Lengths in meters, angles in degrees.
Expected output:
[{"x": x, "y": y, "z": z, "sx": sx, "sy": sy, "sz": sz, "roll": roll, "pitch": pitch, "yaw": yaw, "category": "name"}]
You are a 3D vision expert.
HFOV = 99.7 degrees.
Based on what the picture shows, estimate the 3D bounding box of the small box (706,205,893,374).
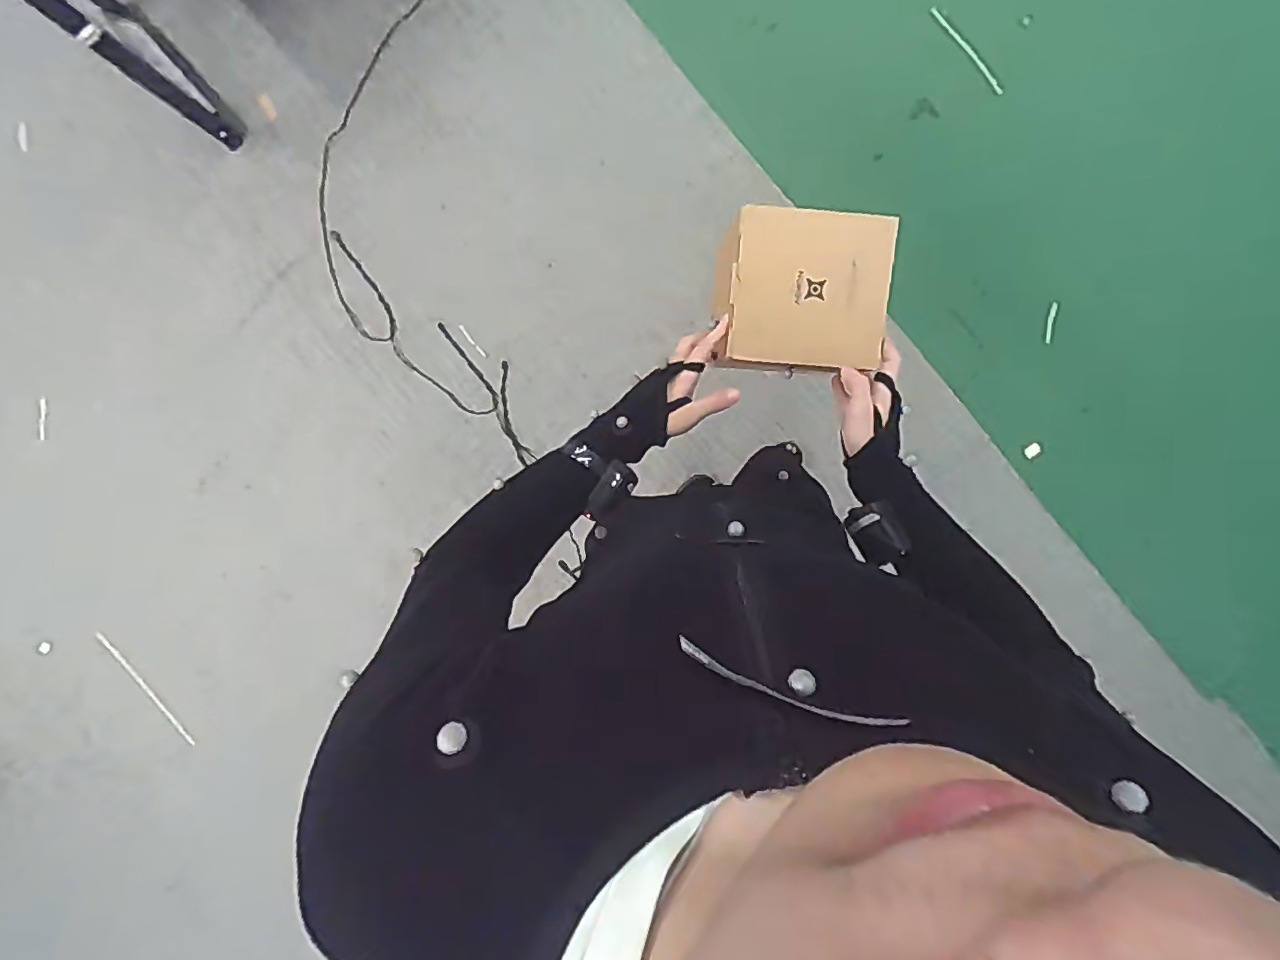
[{"x": 0.183, "y": -0.224, "z": 0.677, "sx": 0.179, "sy": 0.176, "sz": 0.168, "roll": 3, "pitch": 99, "yaw": -2, "category": "small box"}]
